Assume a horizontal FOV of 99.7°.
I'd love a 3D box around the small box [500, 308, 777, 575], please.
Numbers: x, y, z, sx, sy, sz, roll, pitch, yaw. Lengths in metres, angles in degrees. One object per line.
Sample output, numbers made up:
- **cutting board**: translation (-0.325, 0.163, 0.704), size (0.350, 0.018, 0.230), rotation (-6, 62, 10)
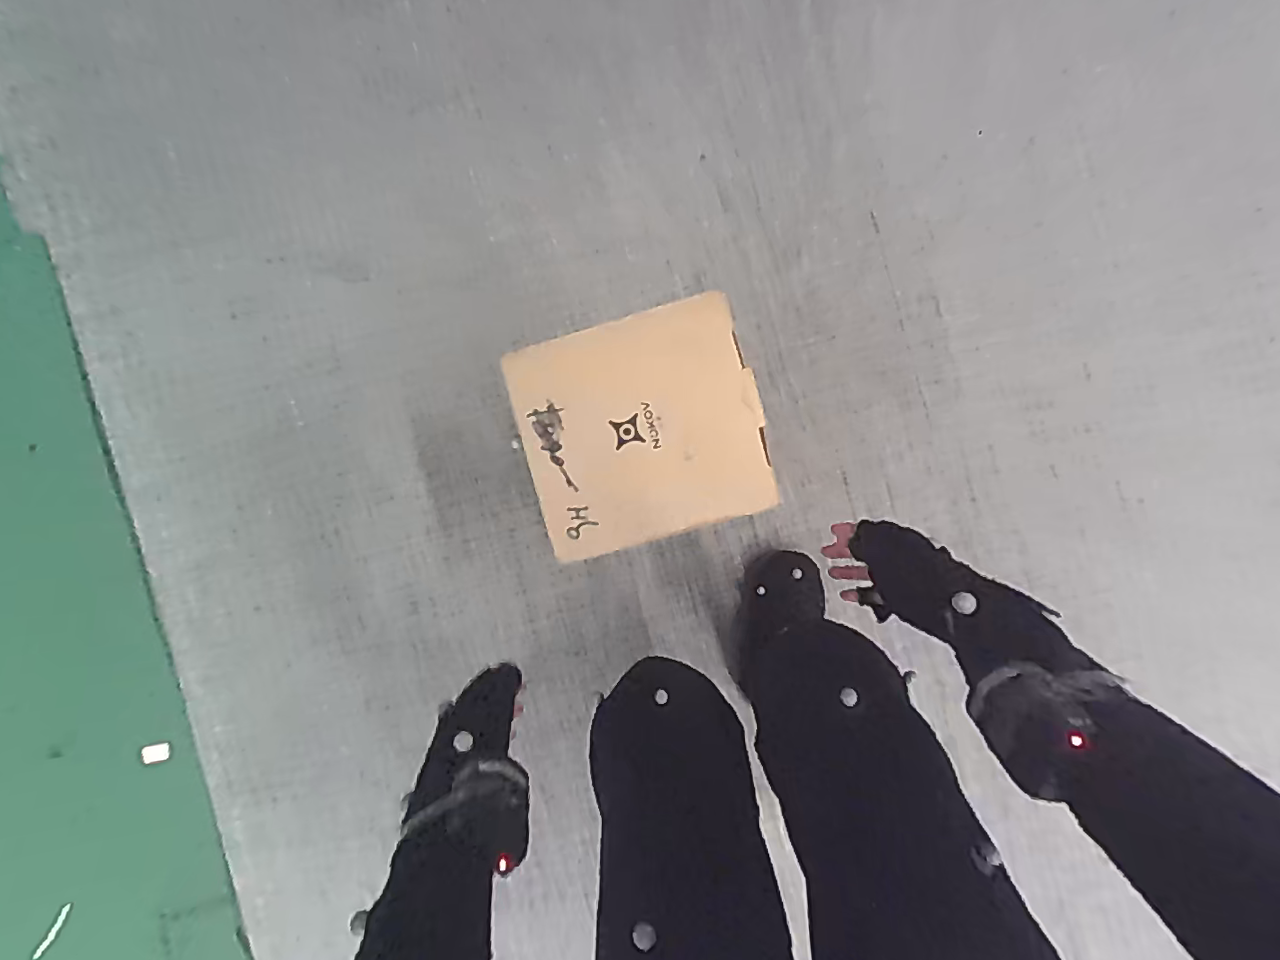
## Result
- **small box**: translation (0.003, -0.030, 0.479), size (0.179, 0.176, 0.168), rotation (-15, 90, 5)
